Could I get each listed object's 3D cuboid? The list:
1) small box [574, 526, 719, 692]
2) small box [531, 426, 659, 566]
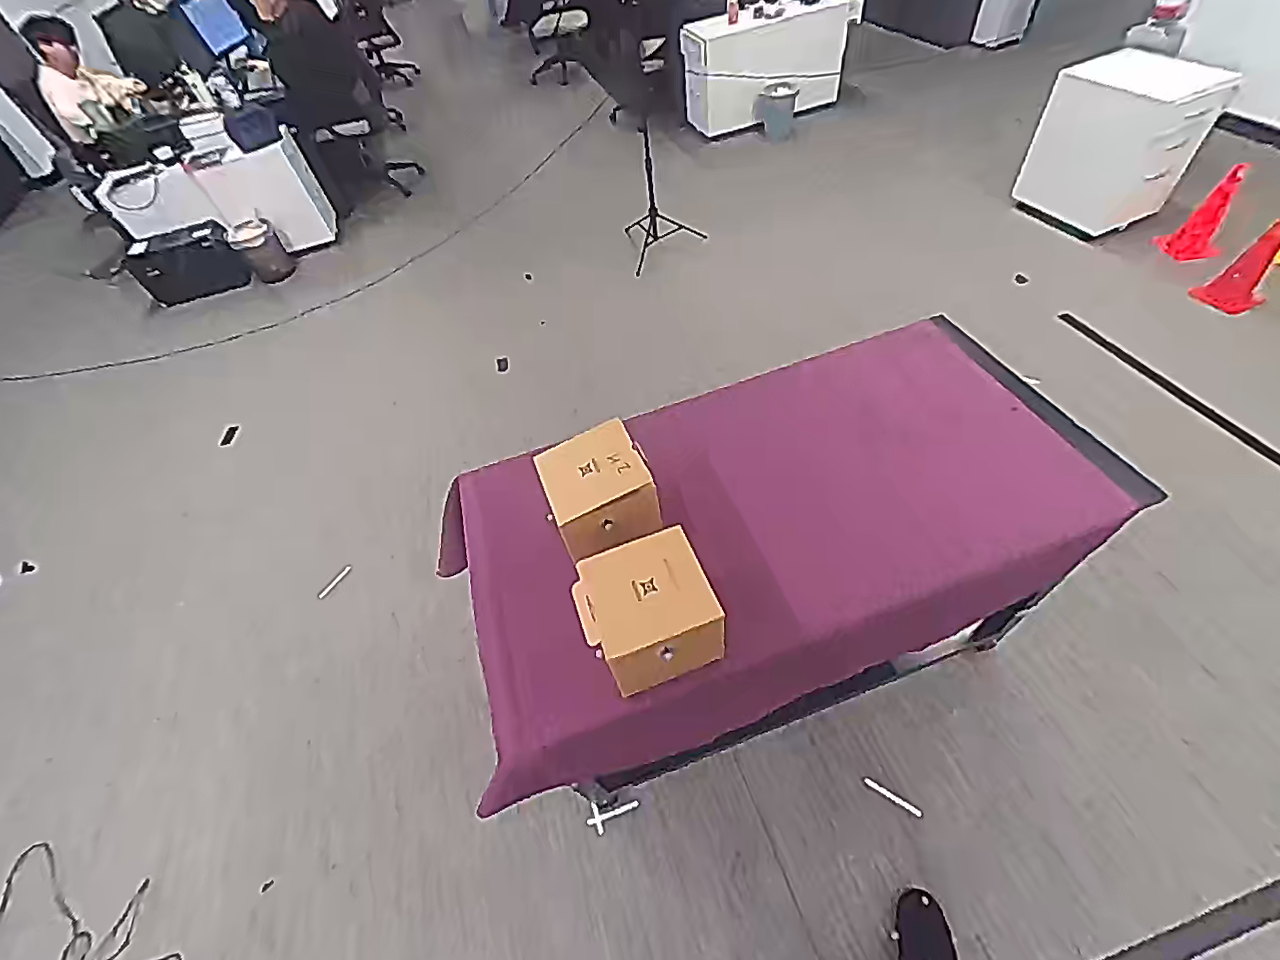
[{"bbox_3d":[0.015,0.206,0.845,0.179,0.176,0.168,-19,52,-7],"label":"small box"},{"bbox_3d":[-0.077,0.036,0.990,0.179,0.176,0.168,-21,53,-9],"label":"small box"}]
